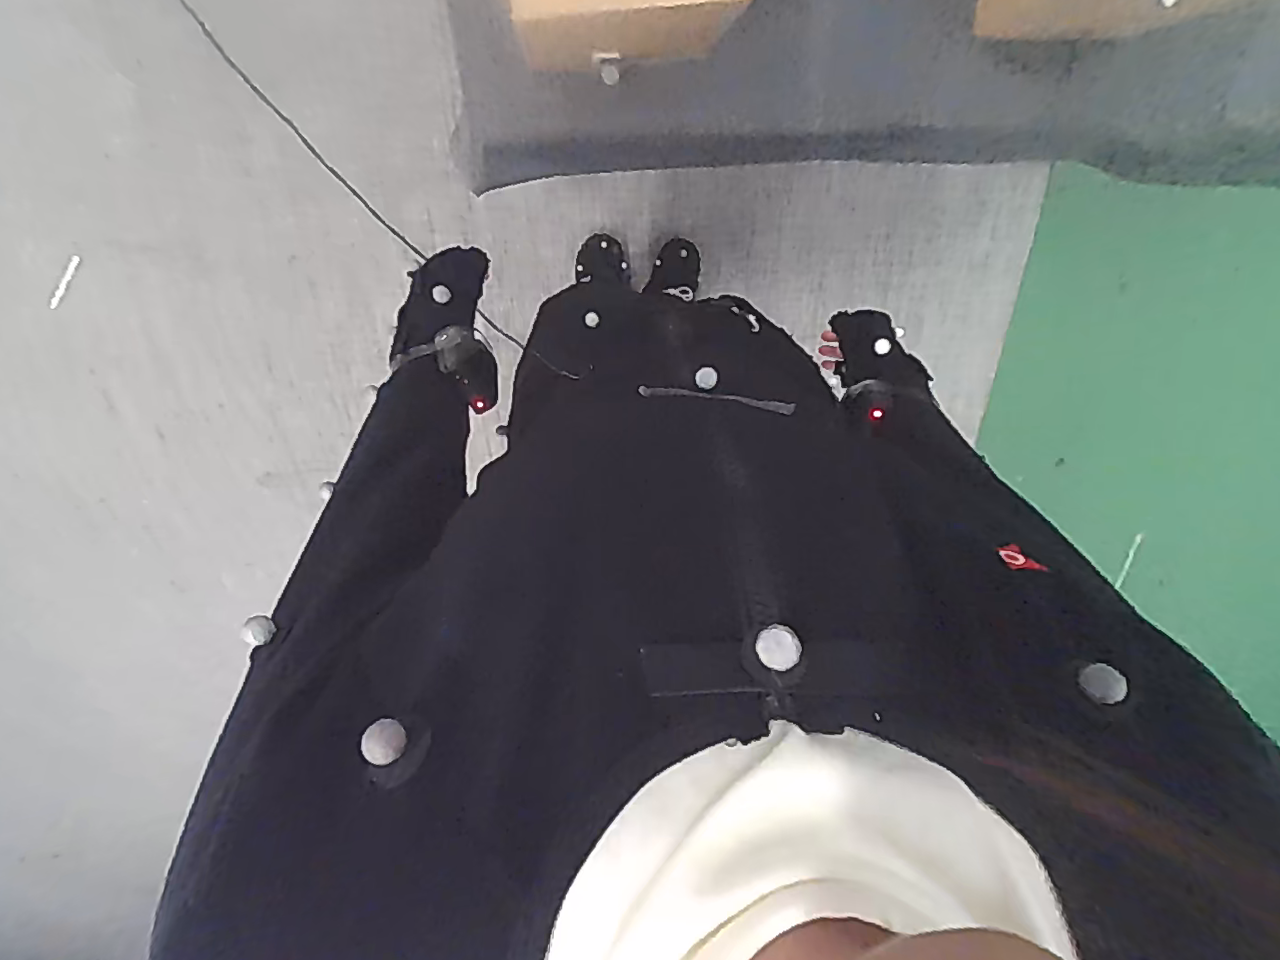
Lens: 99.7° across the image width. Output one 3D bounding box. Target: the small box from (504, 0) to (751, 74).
[{"bbox_3d":[-0.018,-0.416,0.381,0.168,0.176,0.179,-5,116,-2],"label":"small box"}]
